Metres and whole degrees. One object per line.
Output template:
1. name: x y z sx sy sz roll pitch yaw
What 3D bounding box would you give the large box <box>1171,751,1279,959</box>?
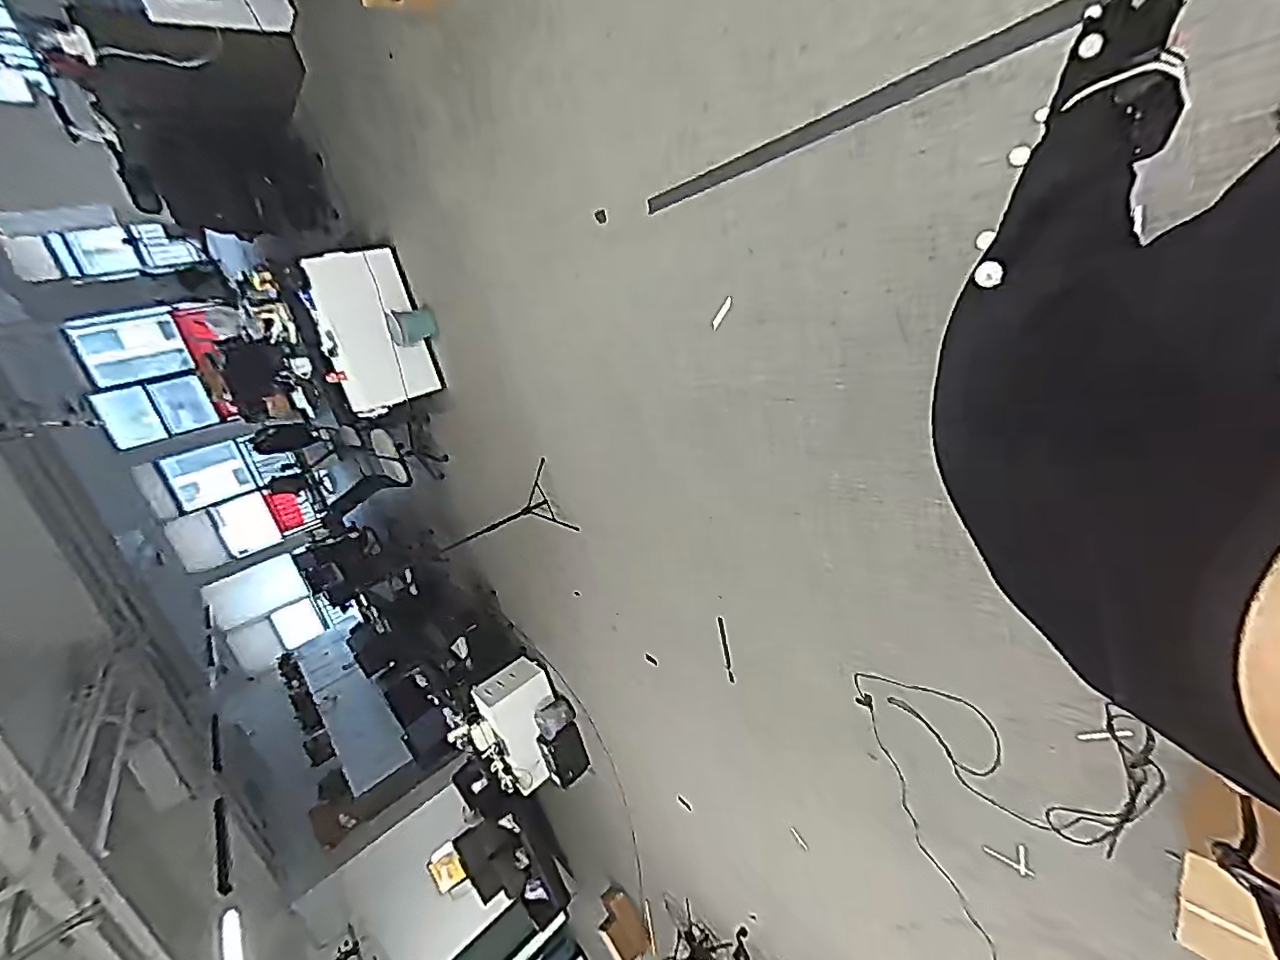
1. large box: 1.430 0.868 1.132 0.408 0.320 0.320 10 120 50
